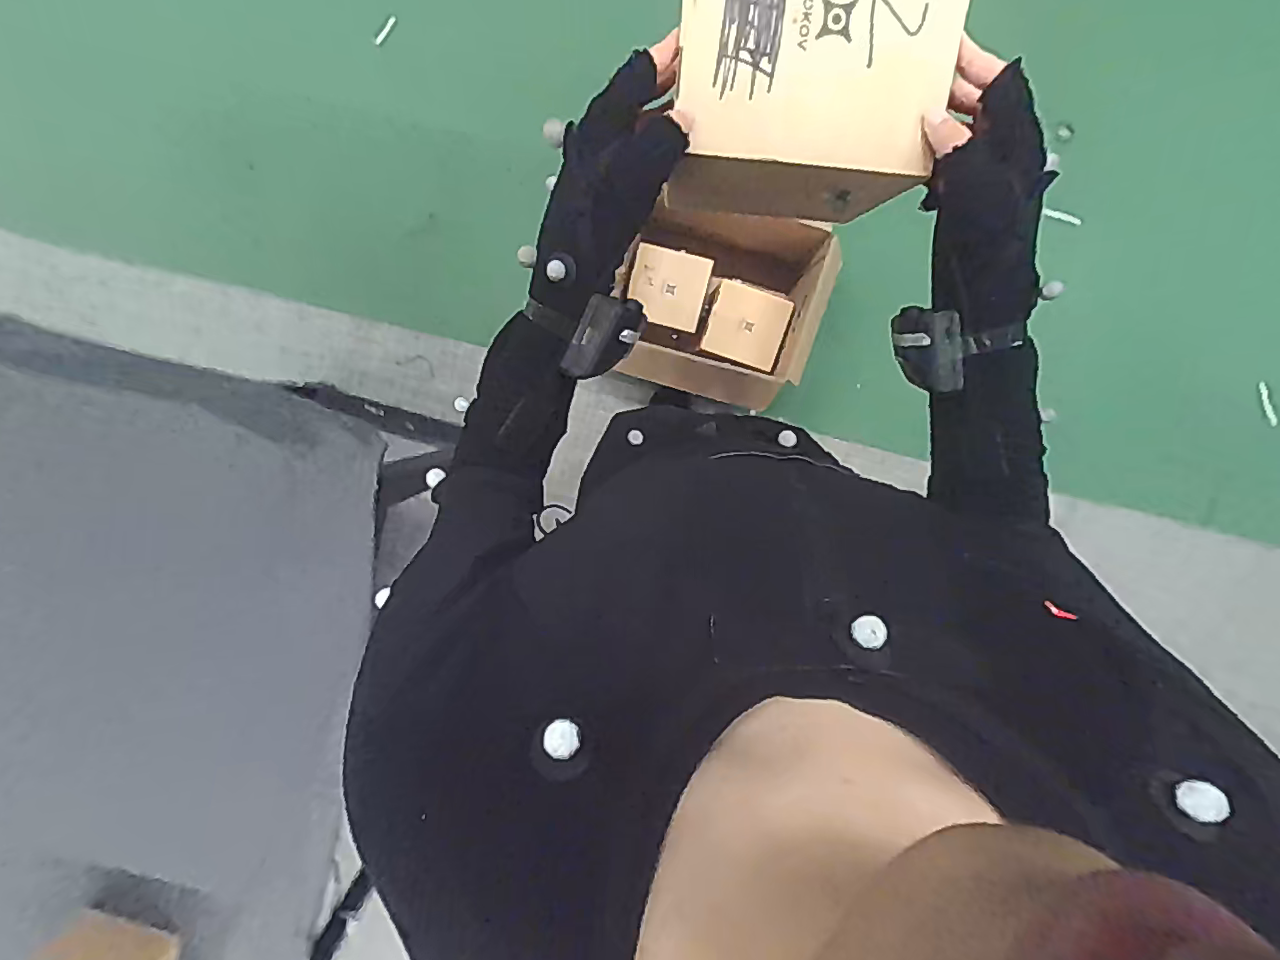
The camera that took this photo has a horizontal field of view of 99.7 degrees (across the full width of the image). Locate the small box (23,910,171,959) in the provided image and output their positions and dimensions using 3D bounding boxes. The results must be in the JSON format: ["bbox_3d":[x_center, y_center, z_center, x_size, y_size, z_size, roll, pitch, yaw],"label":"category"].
[{"bbox_3d":[-0.893,0.831,0.848,0.179,0.176,0.168,16,99,1],"label":"small box"}]
